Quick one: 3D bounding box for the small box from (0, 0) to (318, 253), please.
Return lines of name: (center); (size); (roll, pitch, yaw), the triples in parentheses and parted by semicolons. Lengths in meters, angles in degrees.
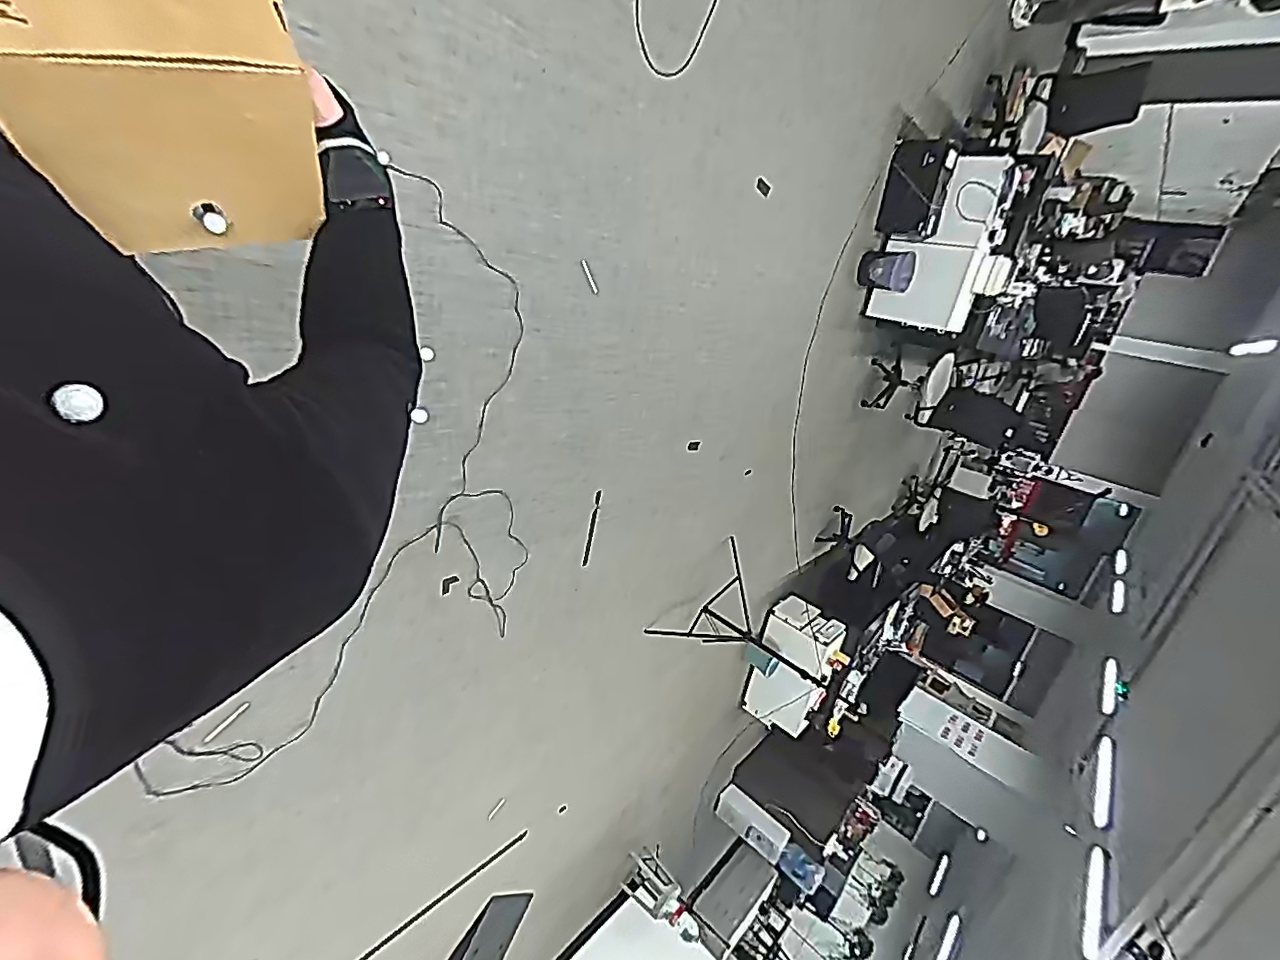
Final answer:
small box: (-0.376, -0.308, 0.429); (0.179, 0.168, 0.176); (-22, 172, -30)
